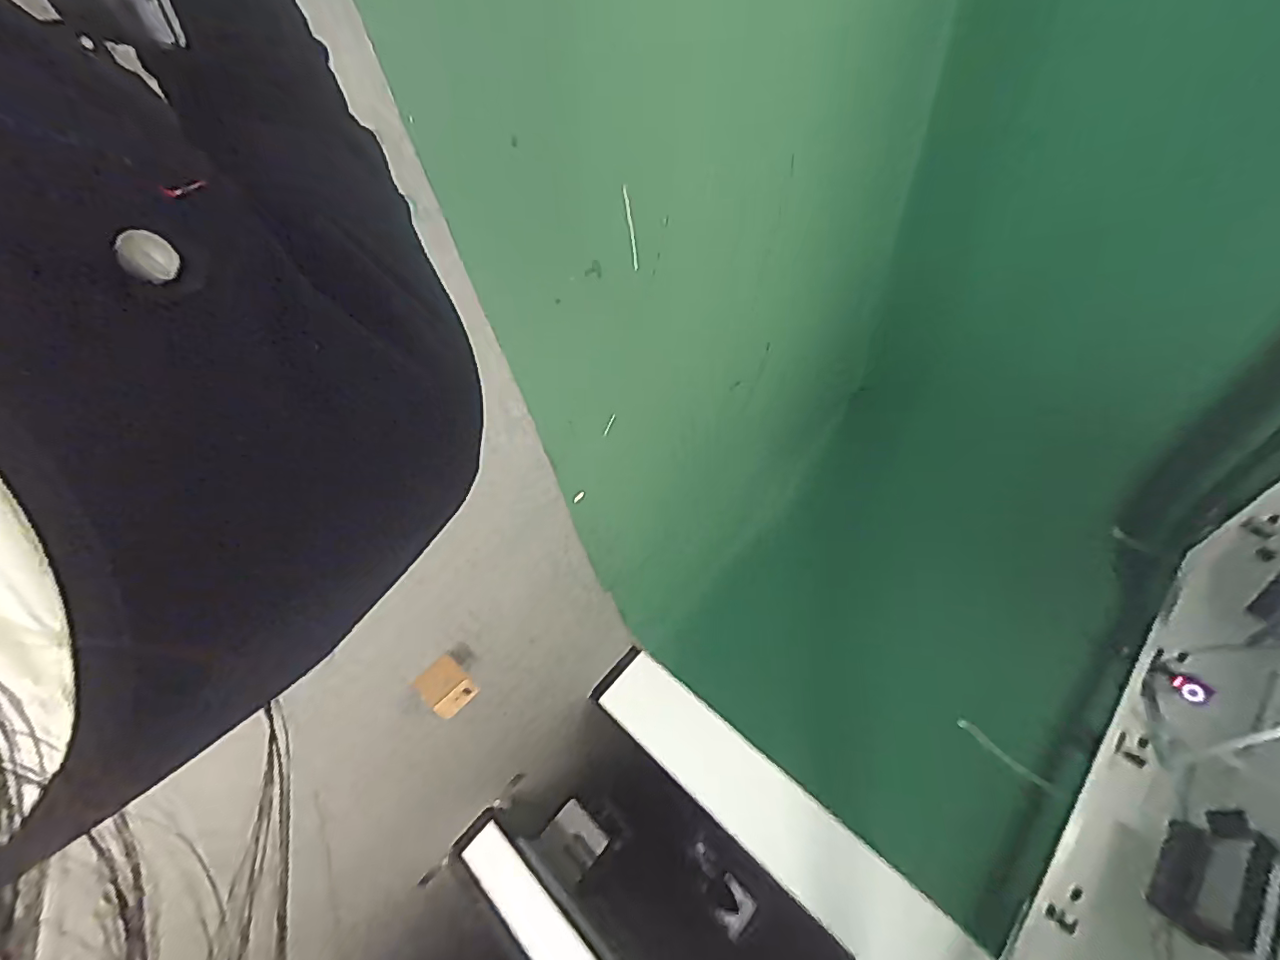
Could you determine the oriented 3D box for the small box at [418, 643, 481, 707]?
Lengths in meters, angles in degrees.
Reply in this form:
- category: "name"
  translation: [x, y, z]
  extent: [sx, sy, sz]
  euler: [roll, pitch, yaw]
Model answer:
- category: "small box"
  translation: [-0.841, 0.853, 2.378]
  extent: [0.179, 0.176, 0.168]
  euler: [-41, 147, -24]
